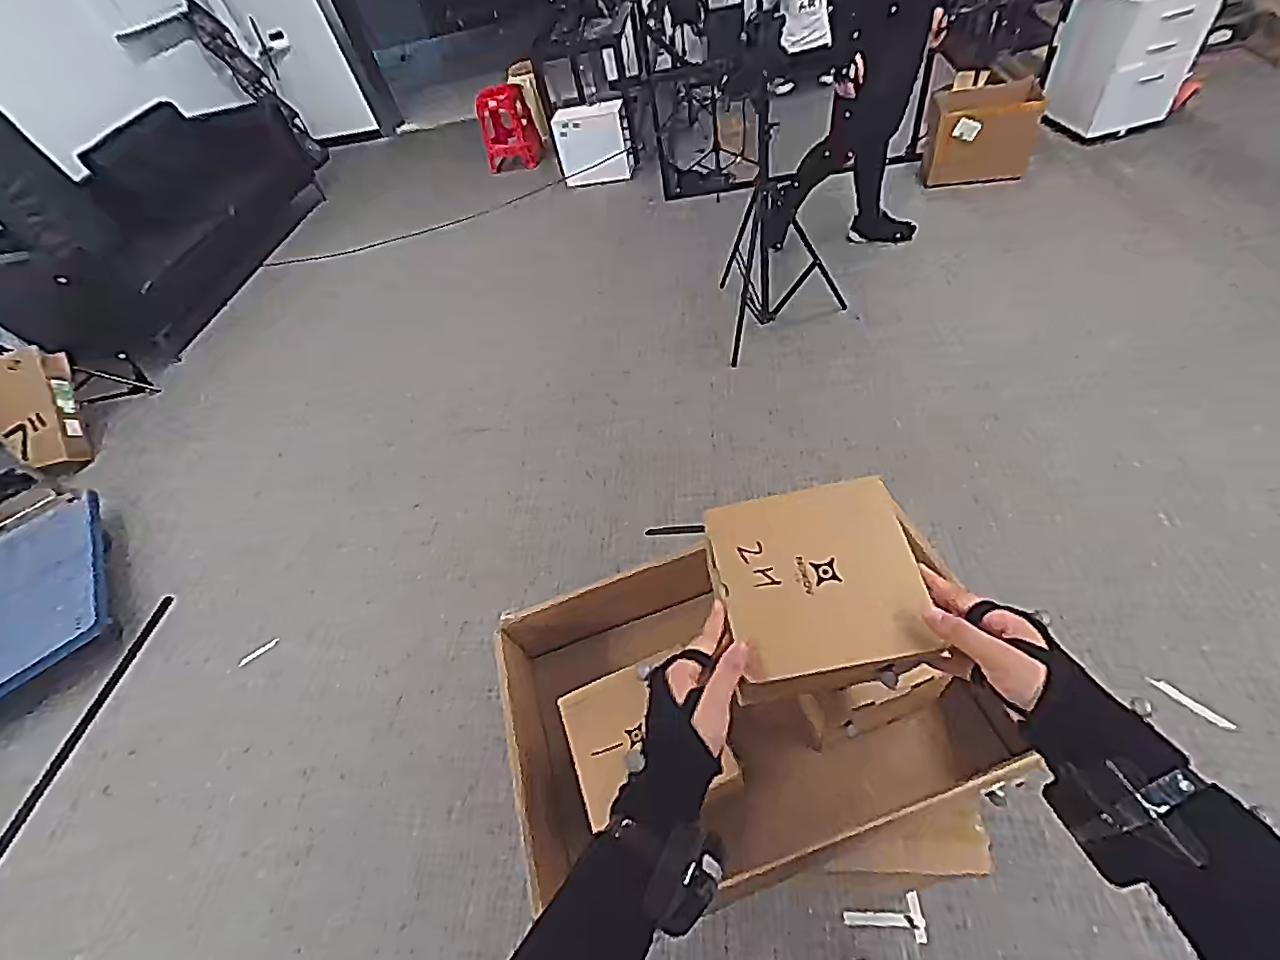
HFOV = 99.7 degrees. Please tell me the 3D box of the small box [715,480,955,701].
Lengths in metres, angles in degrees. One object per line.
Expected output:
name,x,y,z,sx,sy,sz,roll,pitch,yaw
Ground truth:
small box,0.179,0.122,0.558,0.179,0.176,0.168,-11,60,4
